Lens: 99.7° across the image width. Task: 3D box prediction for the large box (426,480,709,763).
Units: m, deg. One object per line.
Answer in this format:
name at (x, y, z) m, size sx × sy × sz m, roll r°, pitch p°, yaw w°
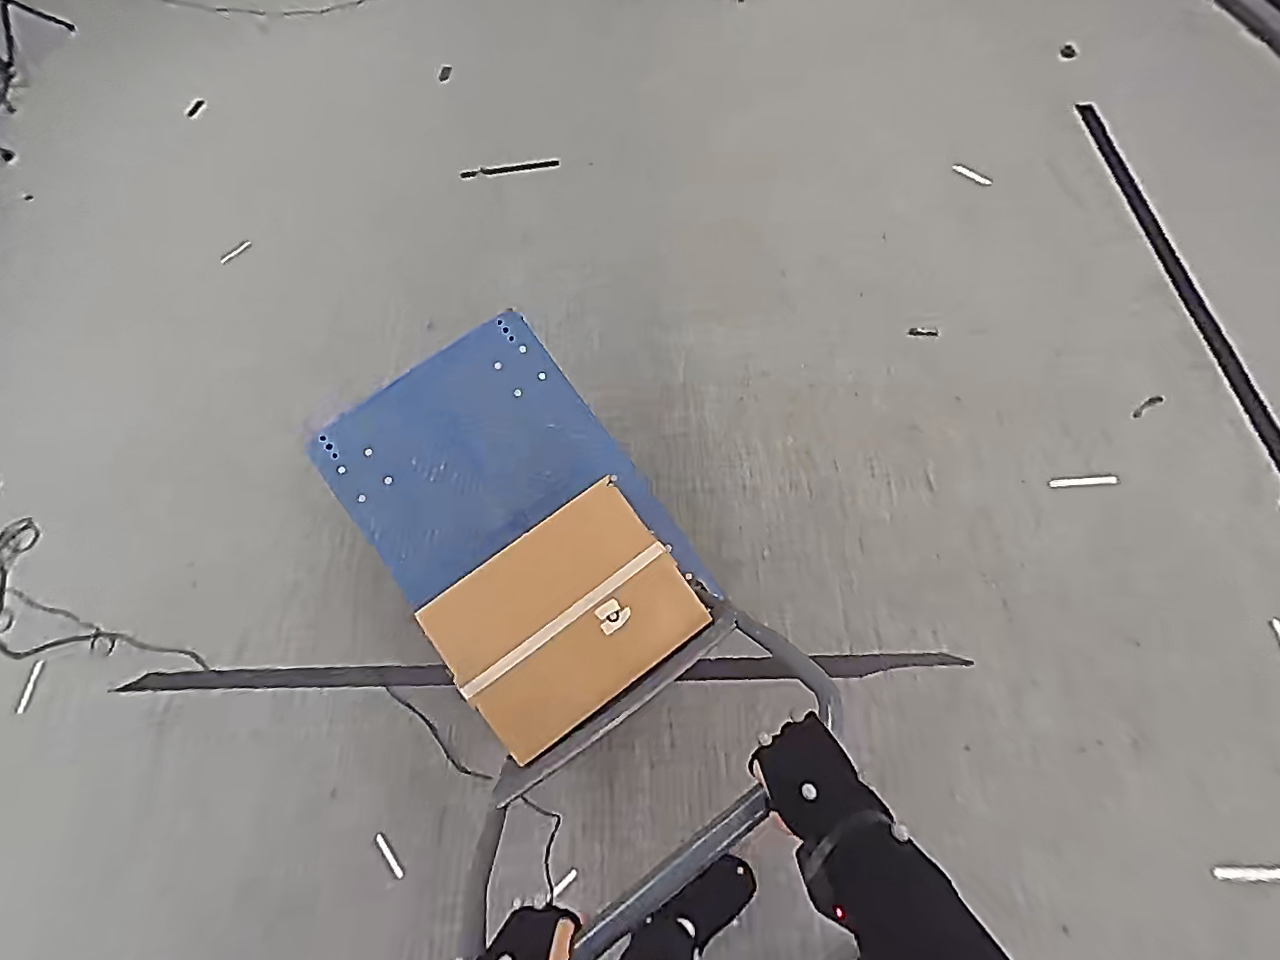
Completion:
large box at (-0.133, 0.259, 1.085) m, size 0.408 × 0.320 × 0.320 m, roll -37°, pitch 87°, yaw -8°
